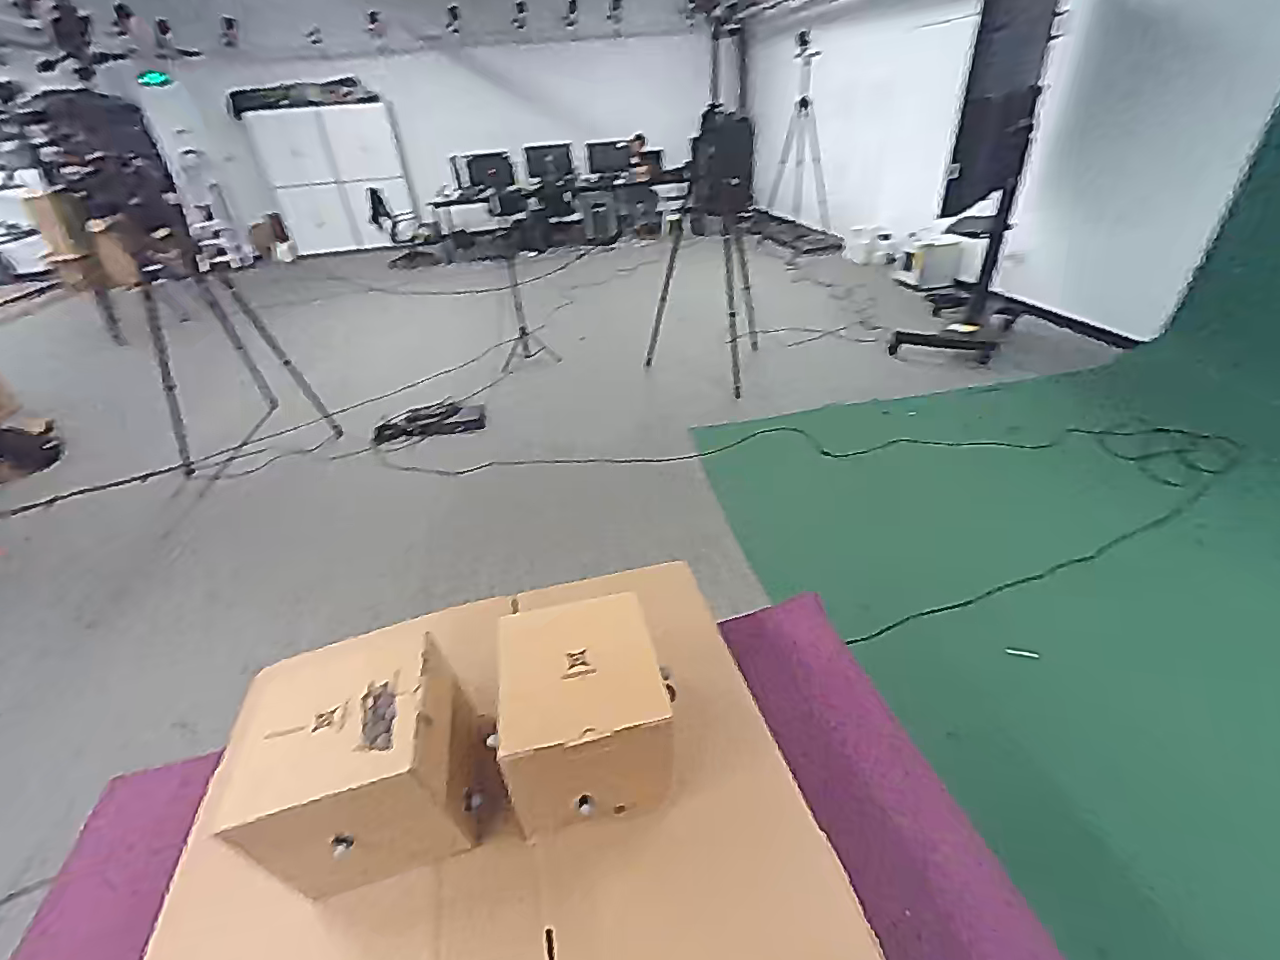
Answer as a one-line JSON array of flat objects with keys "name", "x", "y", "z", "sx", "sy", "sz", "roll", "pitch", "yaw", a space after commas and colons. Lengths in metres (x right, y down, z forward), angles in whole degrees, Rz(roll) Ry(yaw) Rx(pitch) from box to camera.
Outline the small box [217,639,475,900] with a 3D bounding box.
[{"name": "small box", "x": -0.289, "y": 0.310, "z": 0.585, "sx": 0.179, "sy": 0.176, "sz": 0.168, "roll": -17, "pitch": 36, "yaw": -5}]

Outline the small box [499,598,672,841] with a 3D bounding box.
[{"name": "small box", "x": -0.066, "y": 0.268, "z": 0.620, "sx": 0.168, "sy": 0.176, "sz": 0.179, "roll": -9, "pitch": 35, "yaw": -10}]
